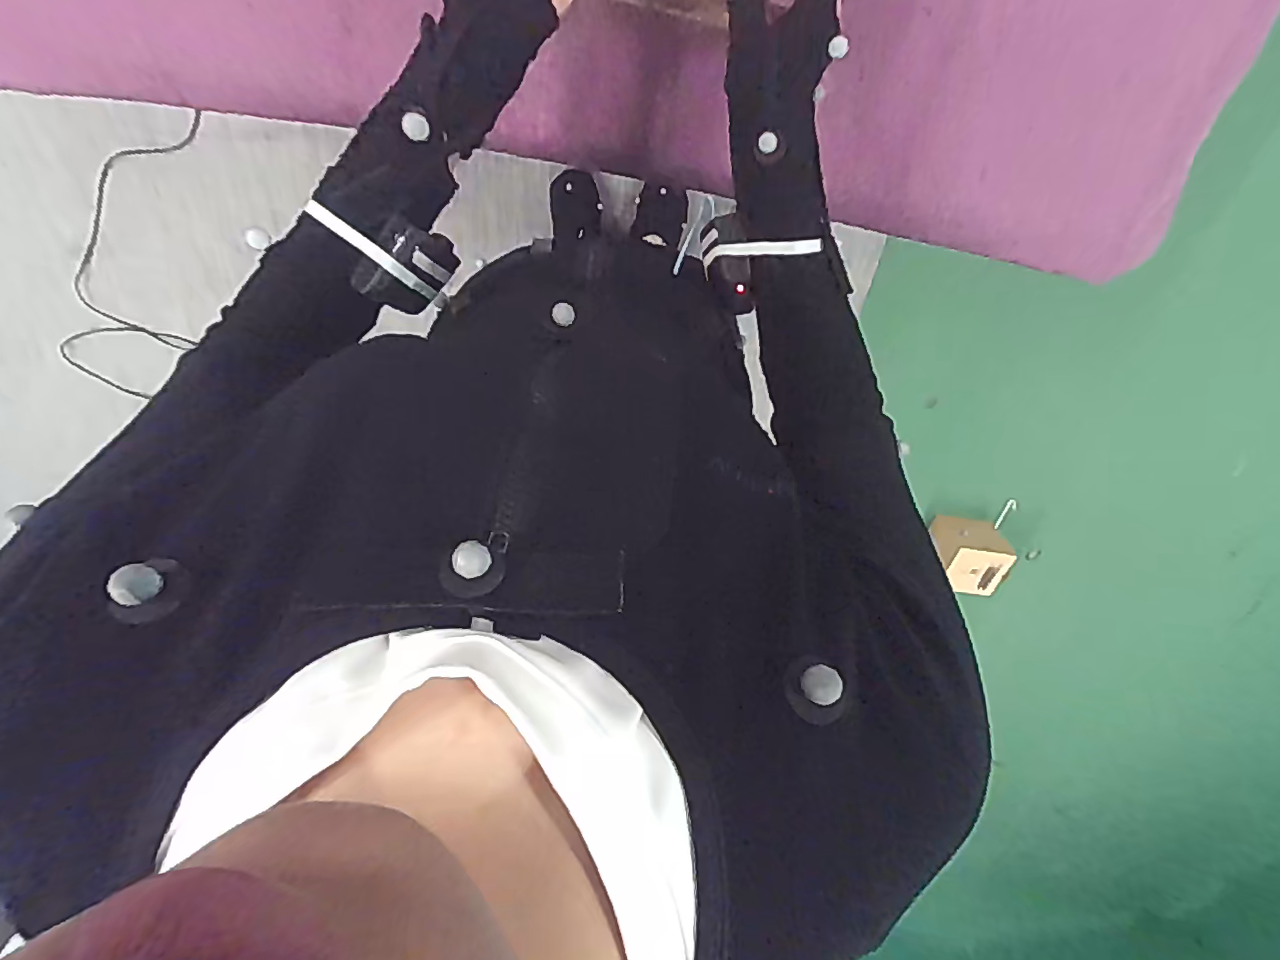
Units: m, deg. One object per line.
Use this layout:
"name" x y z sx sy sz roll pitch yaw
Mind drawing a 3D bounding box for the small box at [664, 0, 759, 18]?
"small box" 0.036 -0.475 0.389 0.168 0.176 0.179 10 123 -5
